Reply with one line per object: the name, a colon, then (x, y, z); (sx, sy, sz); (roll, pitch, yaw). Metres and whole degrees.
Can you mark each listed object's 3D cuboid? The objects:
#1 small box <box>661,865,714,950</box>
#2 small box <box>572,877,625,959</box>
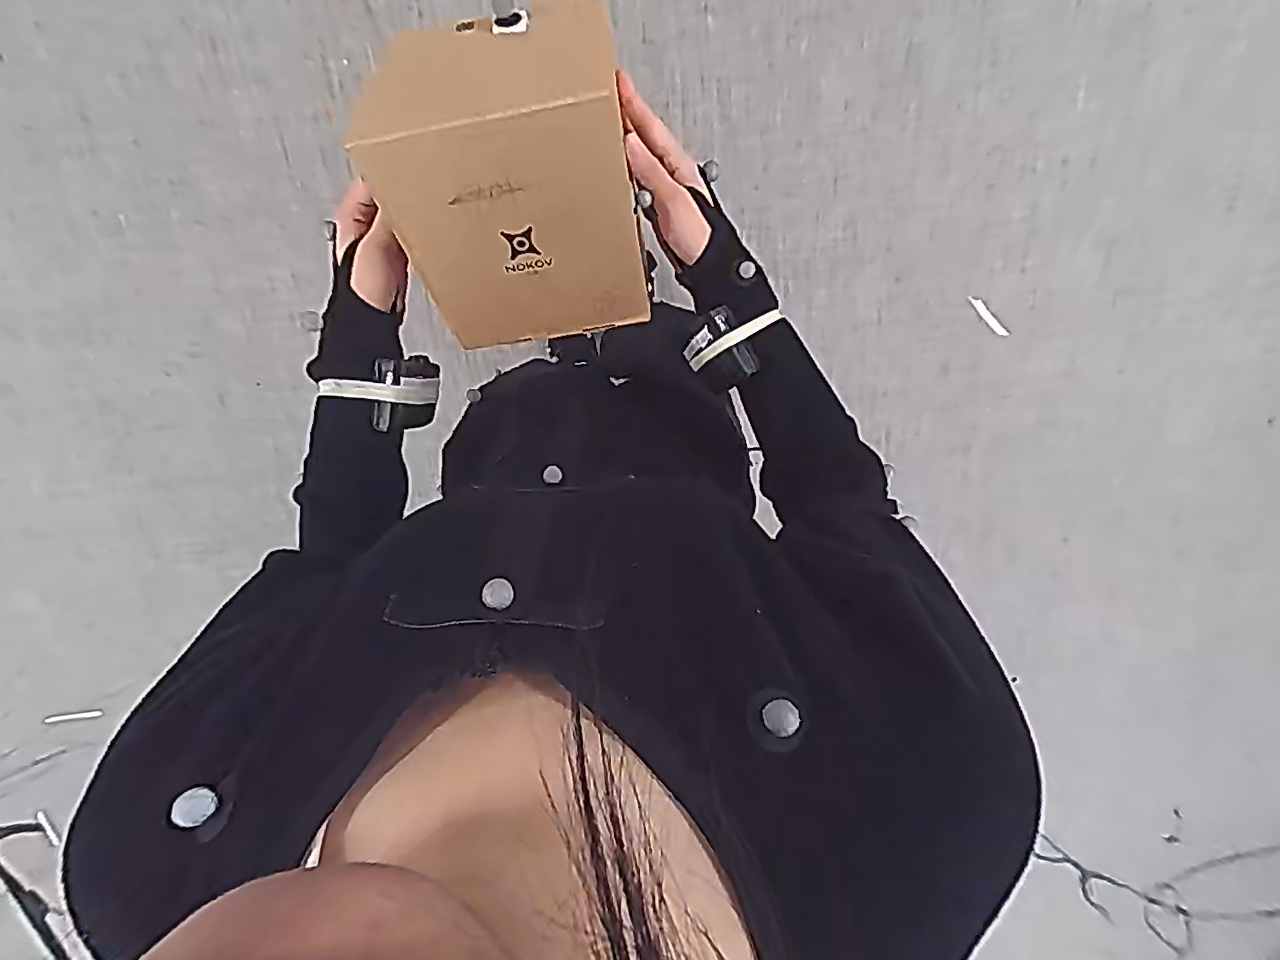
small box: (0.169, 1.529, 1.938); (0.168, 0.176, 0.179); (-5, 109, -4)
small box: (-0.146, 1.555, 1.911); (0.168, 0.176, 0.179); (-7, 107, -4)
